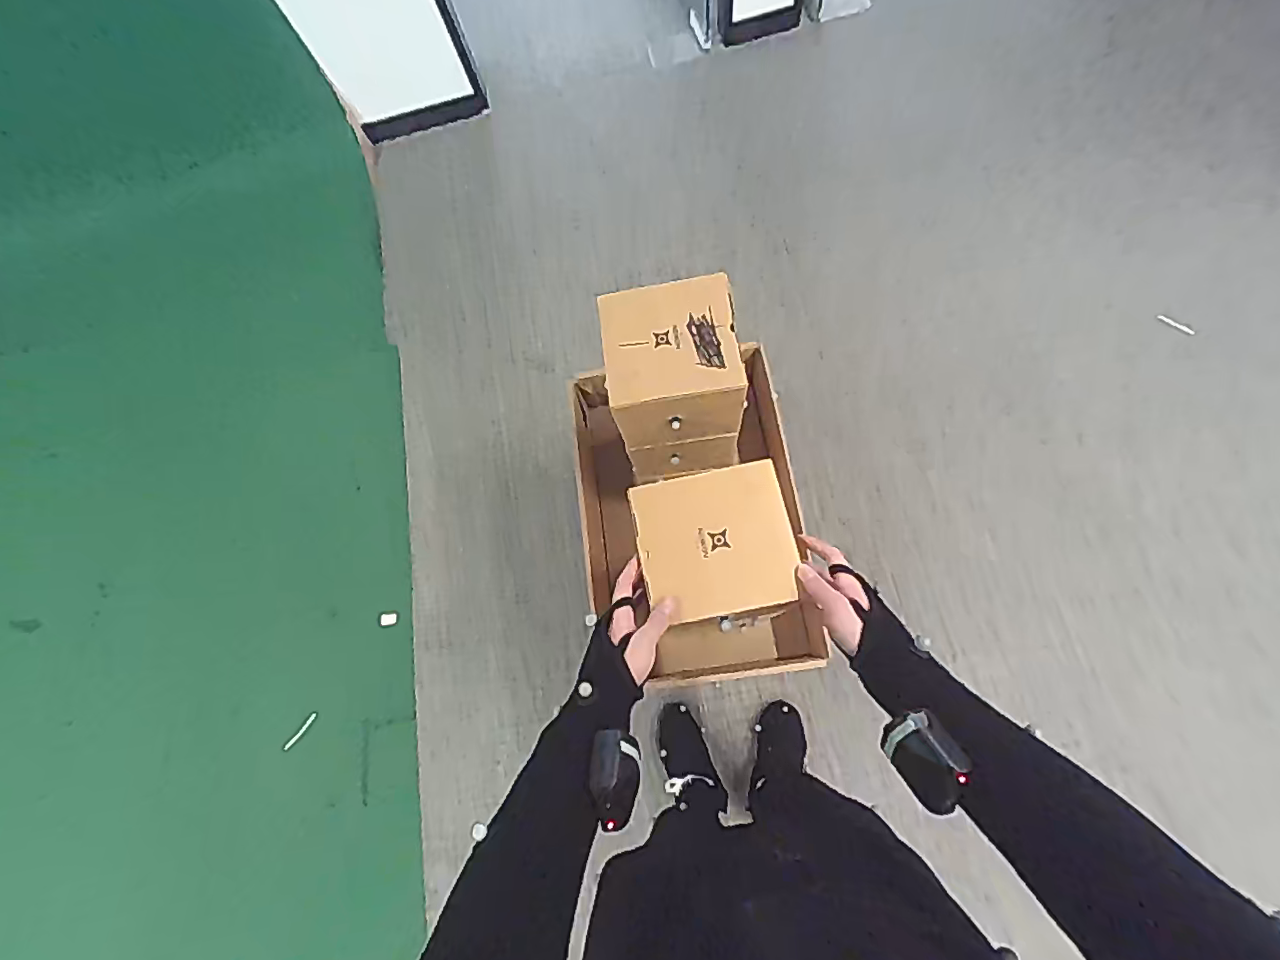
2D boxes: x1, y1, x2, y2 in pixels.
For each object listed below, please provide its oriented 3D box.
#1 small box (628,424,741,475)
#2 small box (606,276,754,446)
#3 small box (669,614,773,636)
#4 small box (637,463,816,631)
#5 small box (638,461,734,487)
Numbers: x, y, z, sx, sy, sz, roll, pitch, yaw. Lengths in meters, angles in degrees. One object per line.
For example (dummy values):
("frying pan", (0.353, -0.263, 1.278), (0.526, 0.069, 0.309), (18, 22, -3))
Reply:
("small box", (0.072, -0.113, 0.926), (0.179, 0.176, 0.168), (-7, 74, 5))
("small box", (0.056, -0.159, 0.768), (0.179, 0.176, 0.168), (-8, 74, 5))
("small box", (0.132, 0.191, 0.996), (0.179, 0.176, 0.168), (-10, 71, 3))
("small box", (0.100, 0.094, 0.687), (0.179, 0.176, 0.168), (-11, 72, 2))
("small box", (0.088, -0.064, 1.081), (0.179, 0.176, 0.168), (-6, 74, 4))
